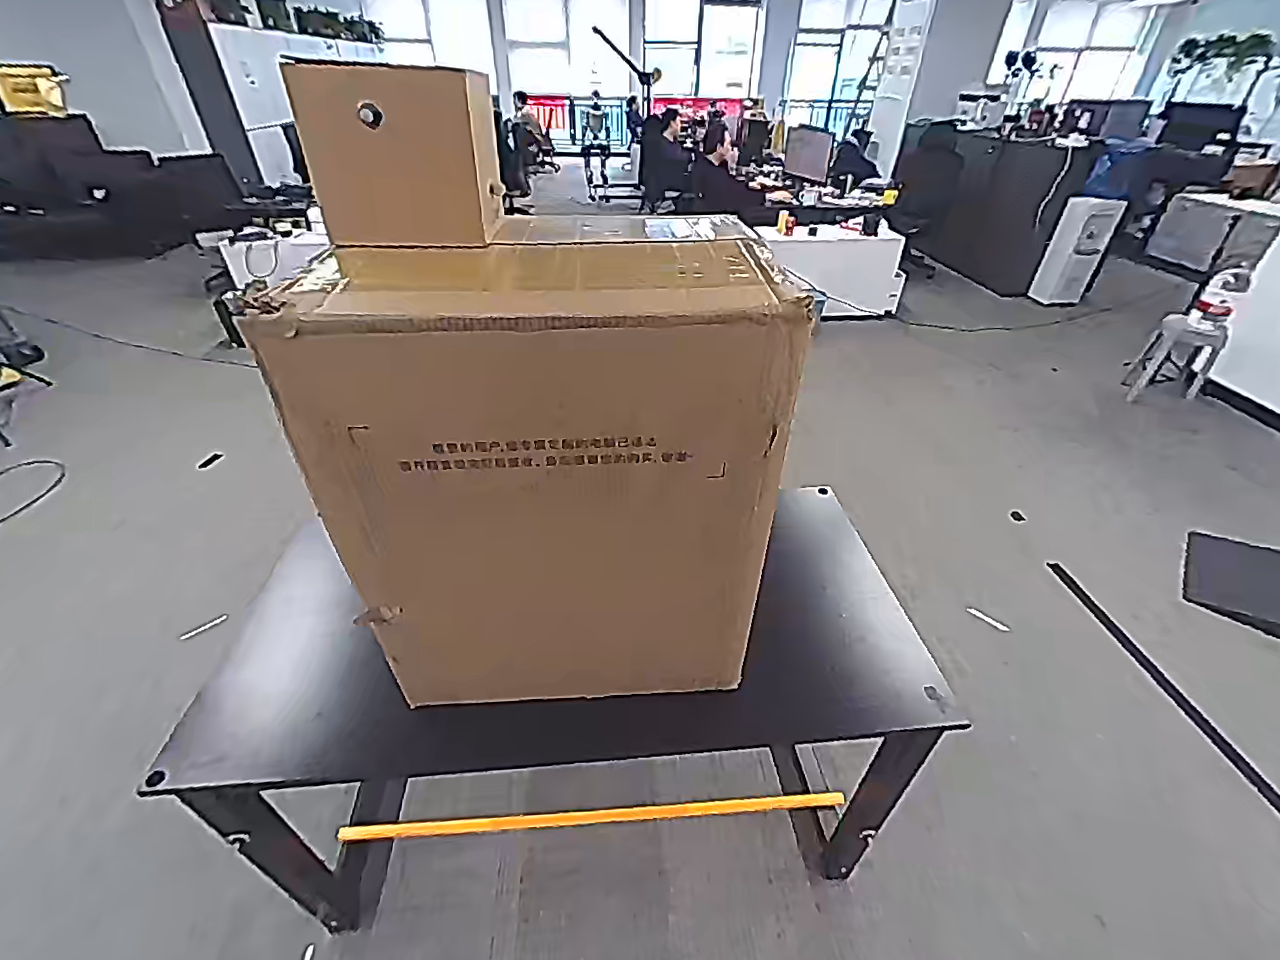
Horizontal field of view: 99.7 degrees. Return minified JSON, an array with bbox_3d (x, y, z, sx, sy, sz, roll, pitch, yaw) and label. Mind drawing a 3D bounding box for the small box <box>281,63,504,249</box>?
[{"bbox_3d":[-0.266,-0.374,0.633,0.179,0.176,0.168,-1,35,-4],"label":"small box"}]
